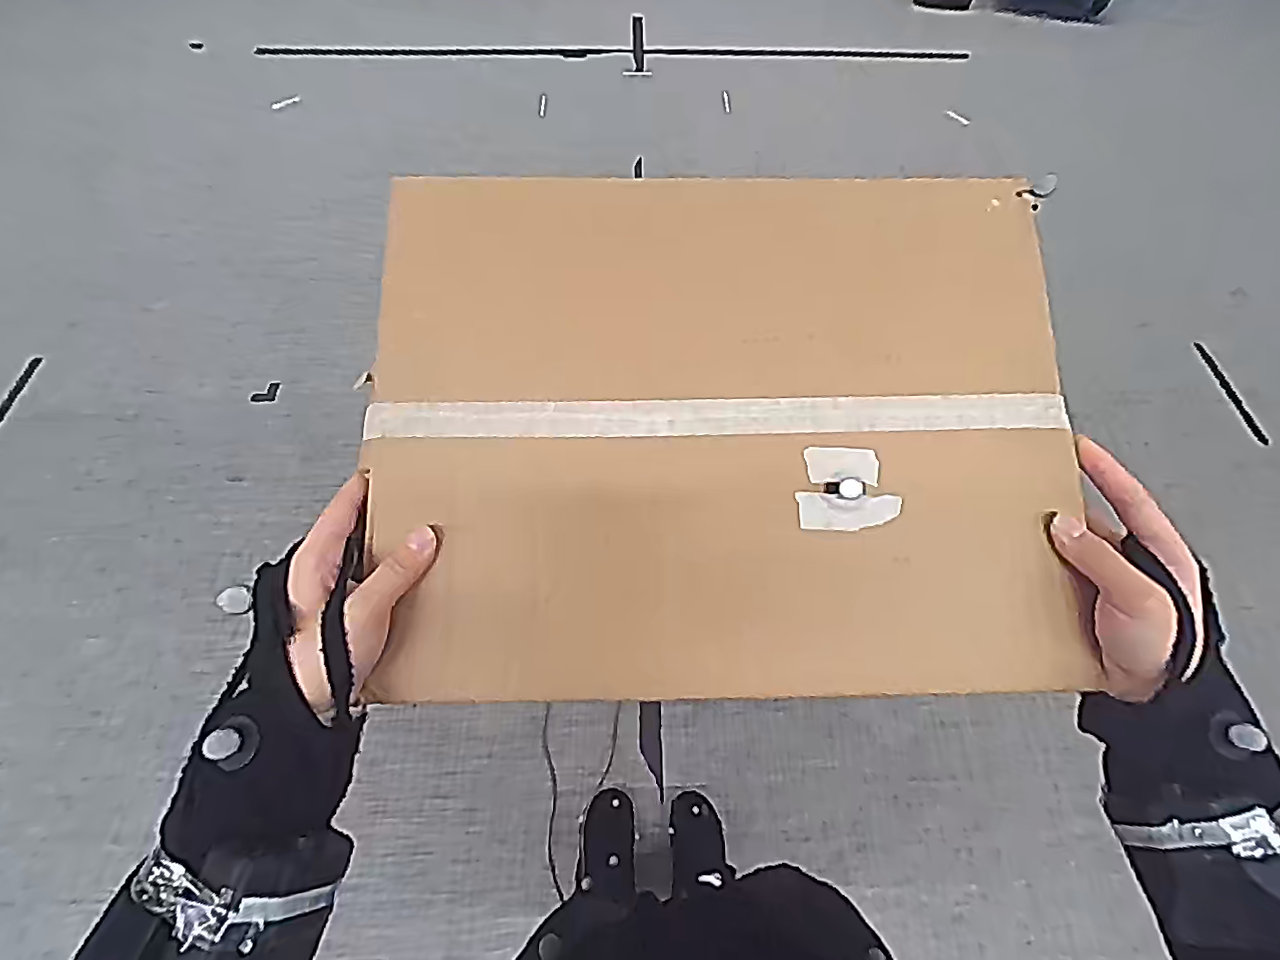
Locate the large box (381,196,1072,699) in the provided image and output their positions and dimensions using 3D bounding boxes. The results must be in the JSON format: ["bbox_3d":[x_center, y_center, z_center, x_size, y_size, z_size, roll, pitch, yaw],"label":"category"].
[{"bbox_3d":[0.043,-0.009,0.477,0.408,0.320,0.320,-1,81,-1],"label":"large box"}]
